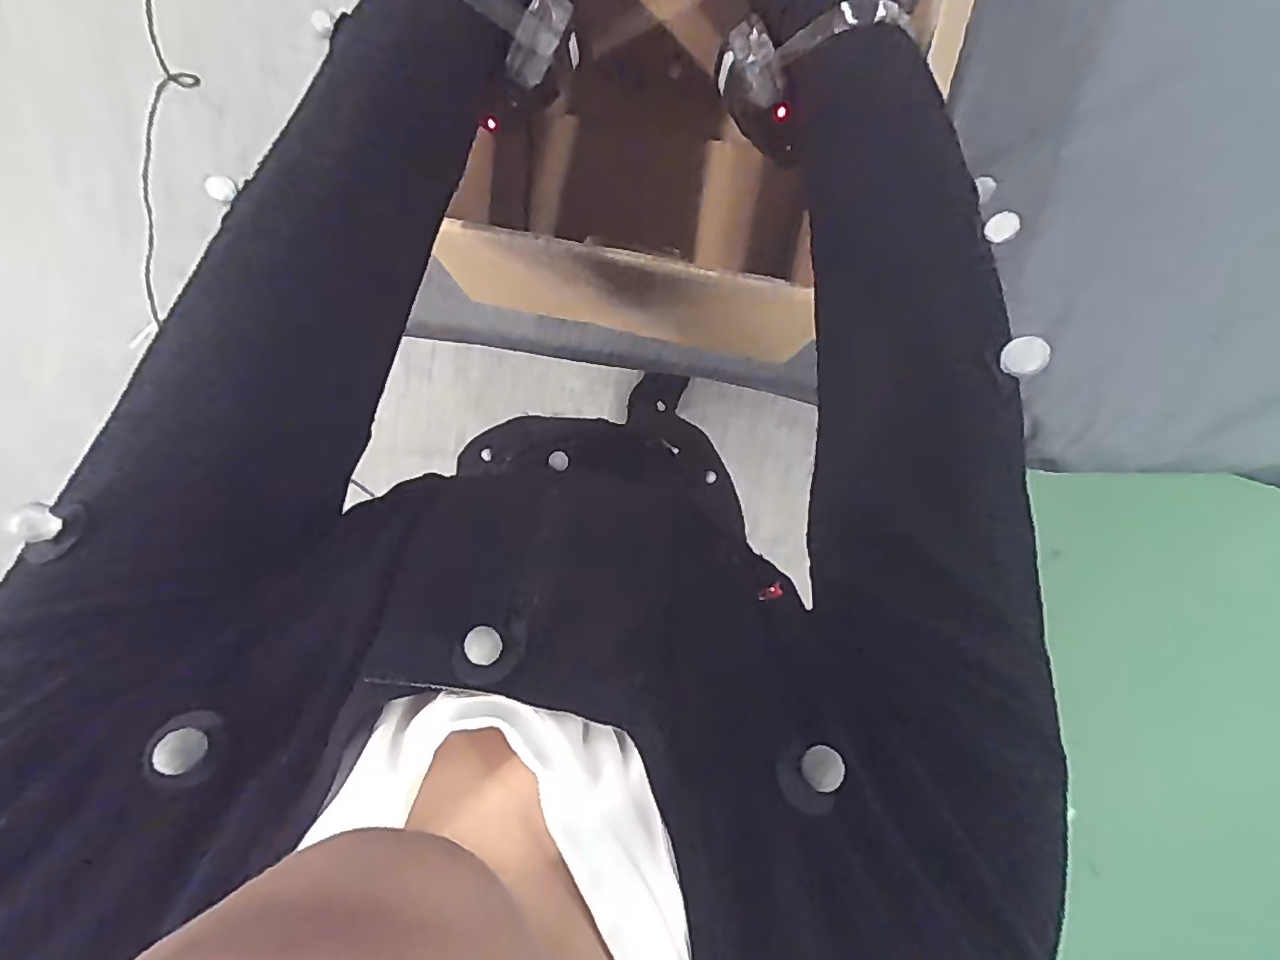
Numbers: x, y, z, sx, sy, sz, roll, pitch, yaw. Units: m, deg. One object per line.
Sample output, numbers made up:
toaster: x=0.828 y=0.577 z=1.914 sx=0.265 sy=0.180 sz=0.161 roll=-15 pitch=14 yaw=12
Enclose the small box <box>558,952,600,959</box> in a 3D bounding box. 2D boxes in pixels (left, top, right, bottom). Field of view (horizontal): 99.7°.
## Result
small box: x=-0.216 y=1.771 z=1.849 sx=0.179 sy=0.176 sz=0.168 roll=7 pitch=105 yaw=5
